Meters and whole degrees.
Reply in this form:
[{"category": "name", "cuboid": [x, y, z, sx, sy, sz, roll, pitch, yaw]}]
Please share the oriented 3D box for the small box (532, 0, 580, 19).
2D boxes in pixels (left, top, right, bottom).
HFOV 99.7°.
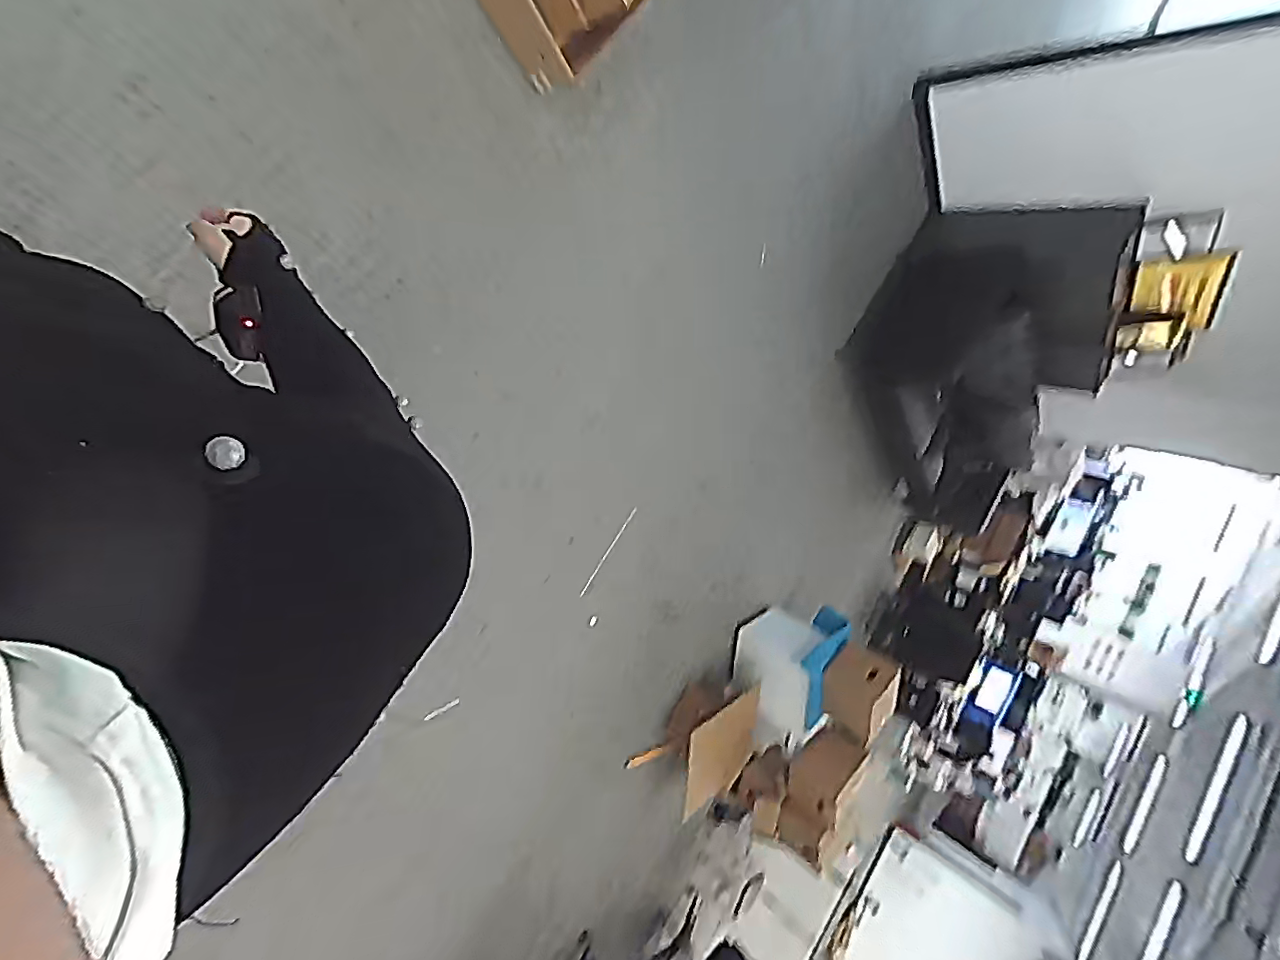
[{"category": "small box", "cuboid": [-0.215, -1.378, 1.433, 0.179, 0.176, 0.168, -57, 138, -10]}]
